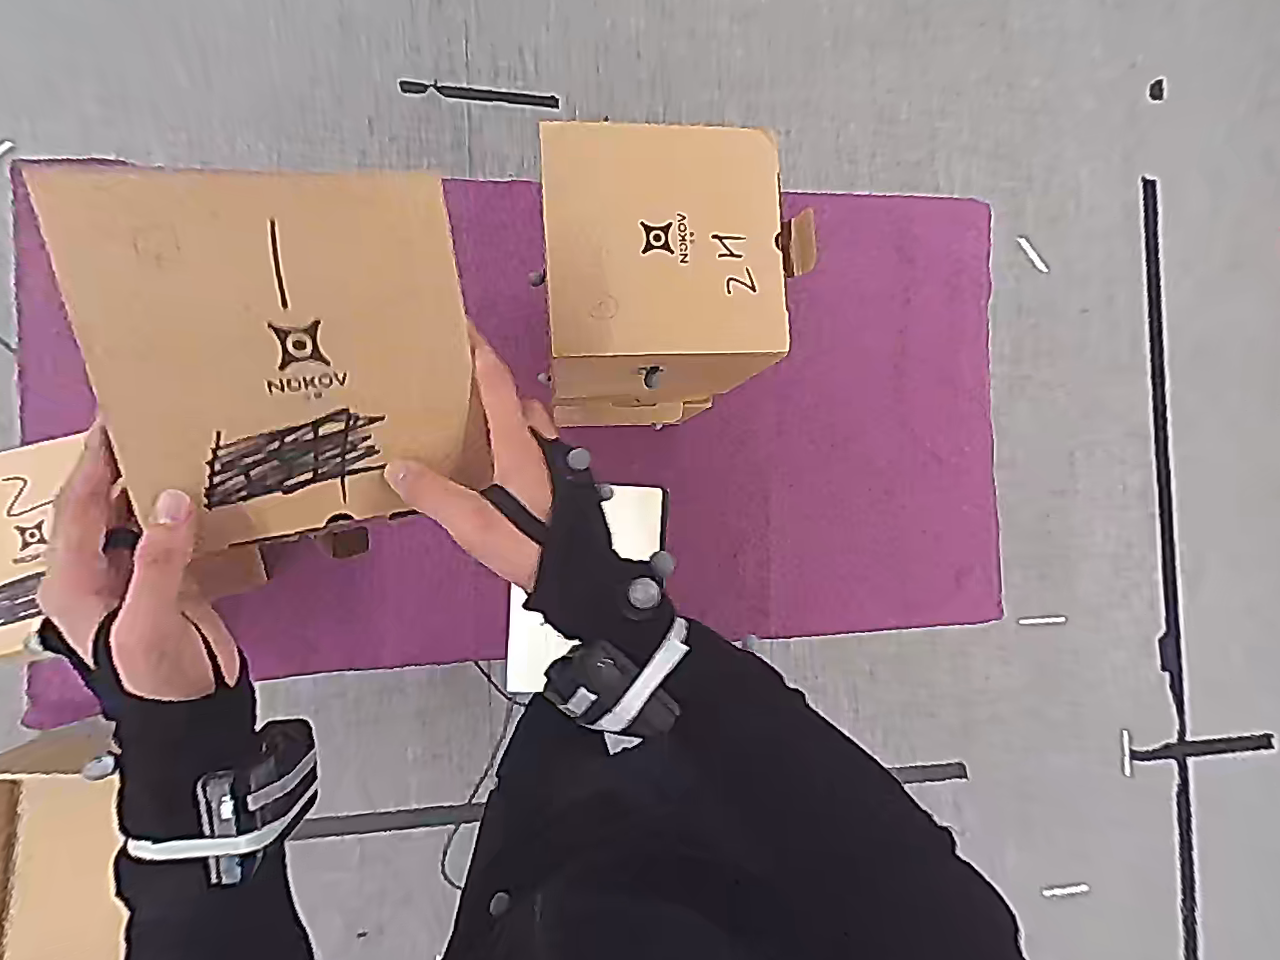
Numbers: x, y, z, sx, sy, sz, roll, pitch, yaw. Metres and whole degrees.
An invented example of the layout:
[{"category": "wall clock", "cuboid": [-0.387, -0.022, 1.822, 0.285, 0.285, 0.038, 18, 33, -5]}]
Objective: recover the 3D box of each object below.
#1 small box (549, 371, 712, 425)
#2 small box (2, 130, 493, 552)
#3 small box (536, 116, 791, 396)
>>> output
[{"category": "small box", "cuboid": [-0.018, -0.157, 0.618, 0.168, 0.176, 0.179, -1, 89, -8]}, {"category": "small box", "cuboid": [-0.190, -0.077, 0.325, 0.168, 0.176, 0.179, -10, 104, -20]}, {"category": "small box", "cuboid": [0.008, -0.166, 0.455, 0.179, 0.176, 0.168, -2, 89, -9]}]
